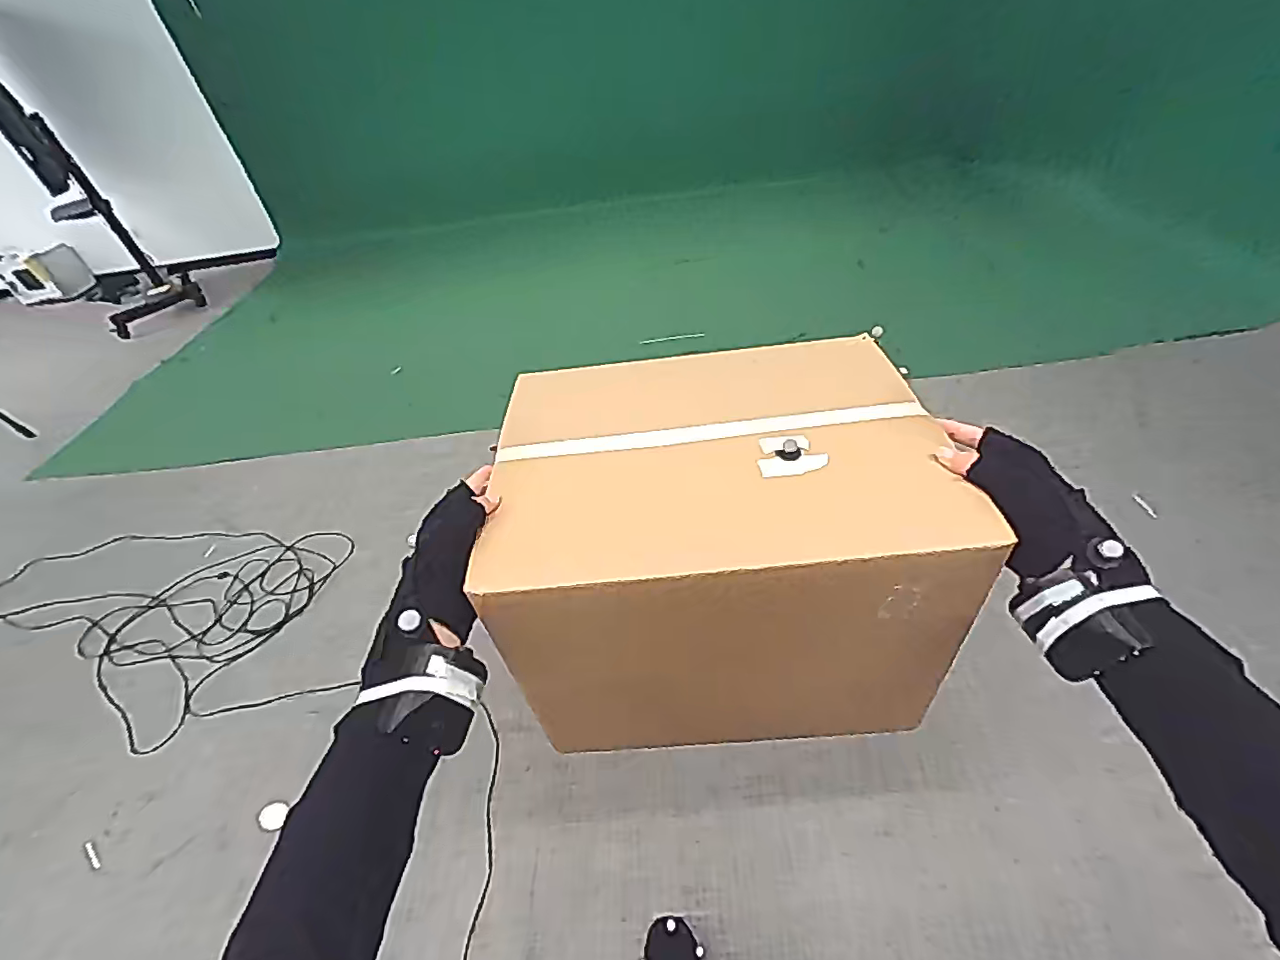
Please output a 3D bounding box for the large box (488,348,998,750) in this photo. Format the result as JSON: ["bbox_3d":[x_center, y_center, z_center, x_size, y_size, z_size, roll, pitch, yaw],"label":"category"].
[{"bbox_3d":[0.084,0.078,0.621,0.408,0.320,0.320,-6,42,3],"label":"large box"}]
